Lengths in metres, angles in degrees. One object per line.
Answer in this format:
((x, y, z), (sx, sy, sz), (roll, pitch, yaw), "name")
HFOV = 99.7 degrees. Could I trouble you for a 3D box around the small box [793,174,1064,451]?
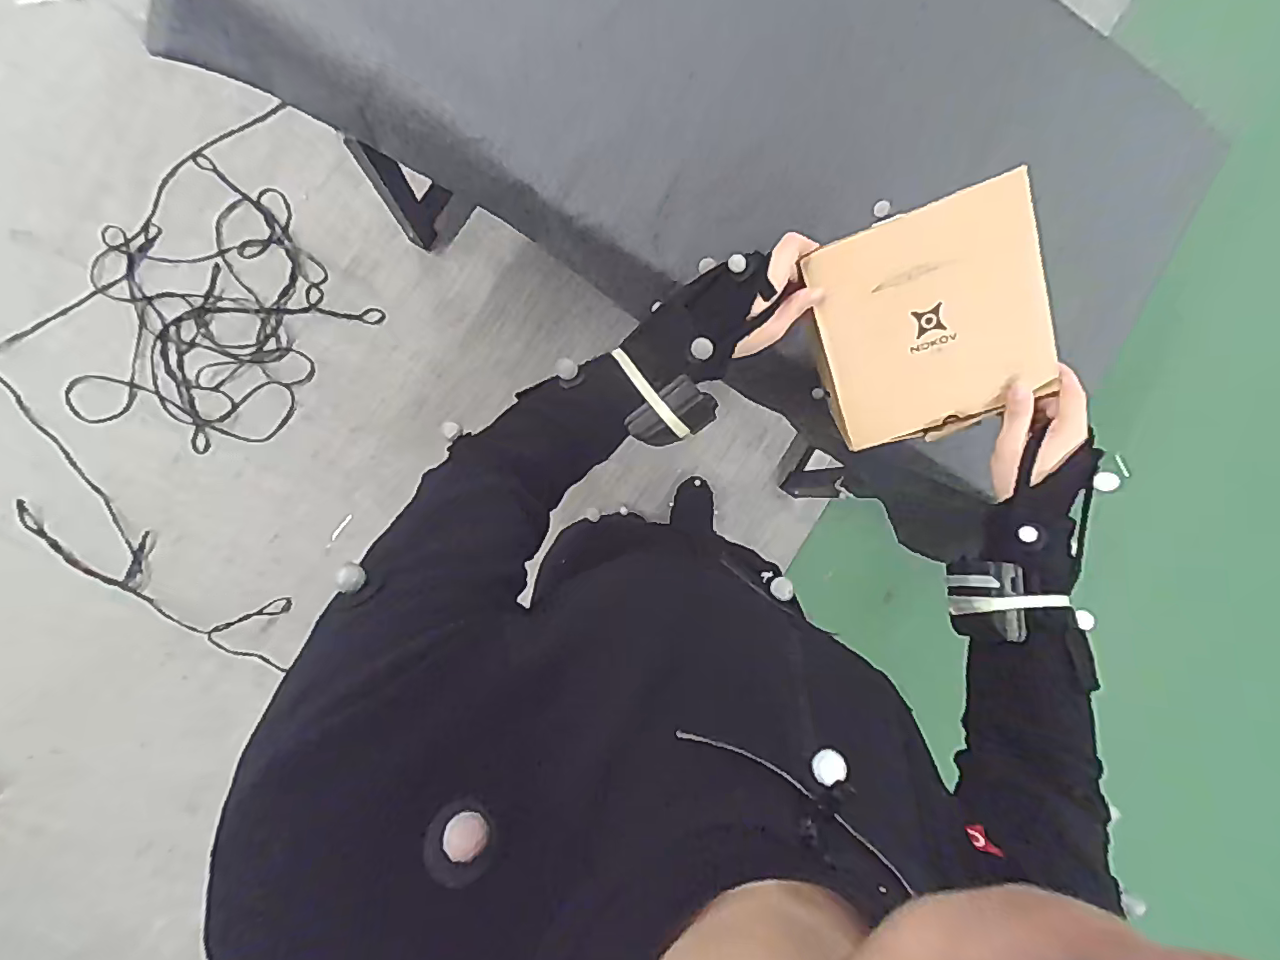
((0.253, -0.153, 0.510), (0.168, 0.176, 0.179), (-19, 105, 17), "small box")
